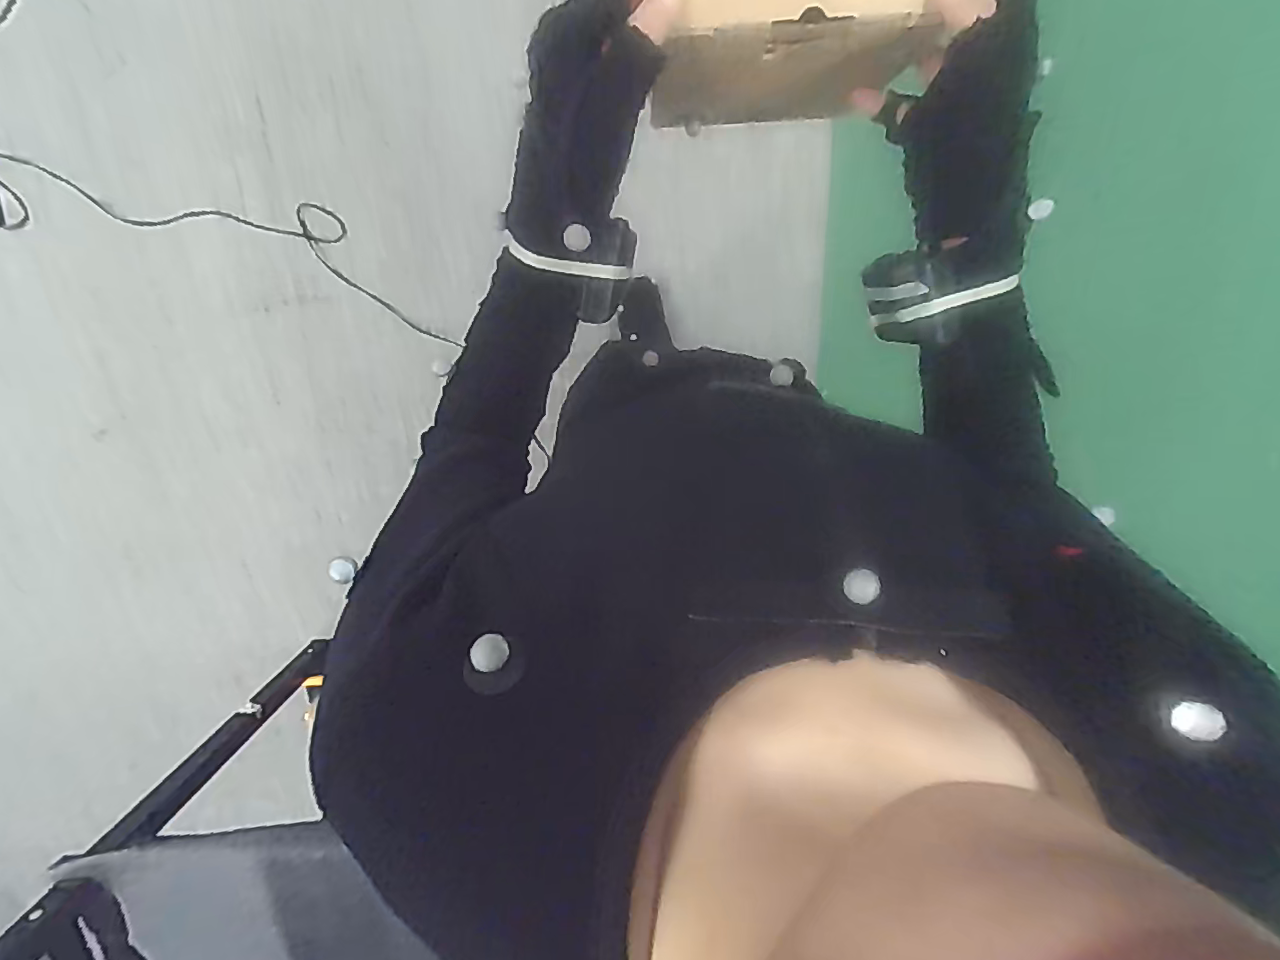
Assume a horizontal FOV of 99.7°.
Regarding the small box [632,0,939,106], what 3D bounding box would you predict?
[{"bbox_3d":[0.077,-0.354,0.332,0.168,0.176,0.179,-2,108,1],"label":"small box"}]
